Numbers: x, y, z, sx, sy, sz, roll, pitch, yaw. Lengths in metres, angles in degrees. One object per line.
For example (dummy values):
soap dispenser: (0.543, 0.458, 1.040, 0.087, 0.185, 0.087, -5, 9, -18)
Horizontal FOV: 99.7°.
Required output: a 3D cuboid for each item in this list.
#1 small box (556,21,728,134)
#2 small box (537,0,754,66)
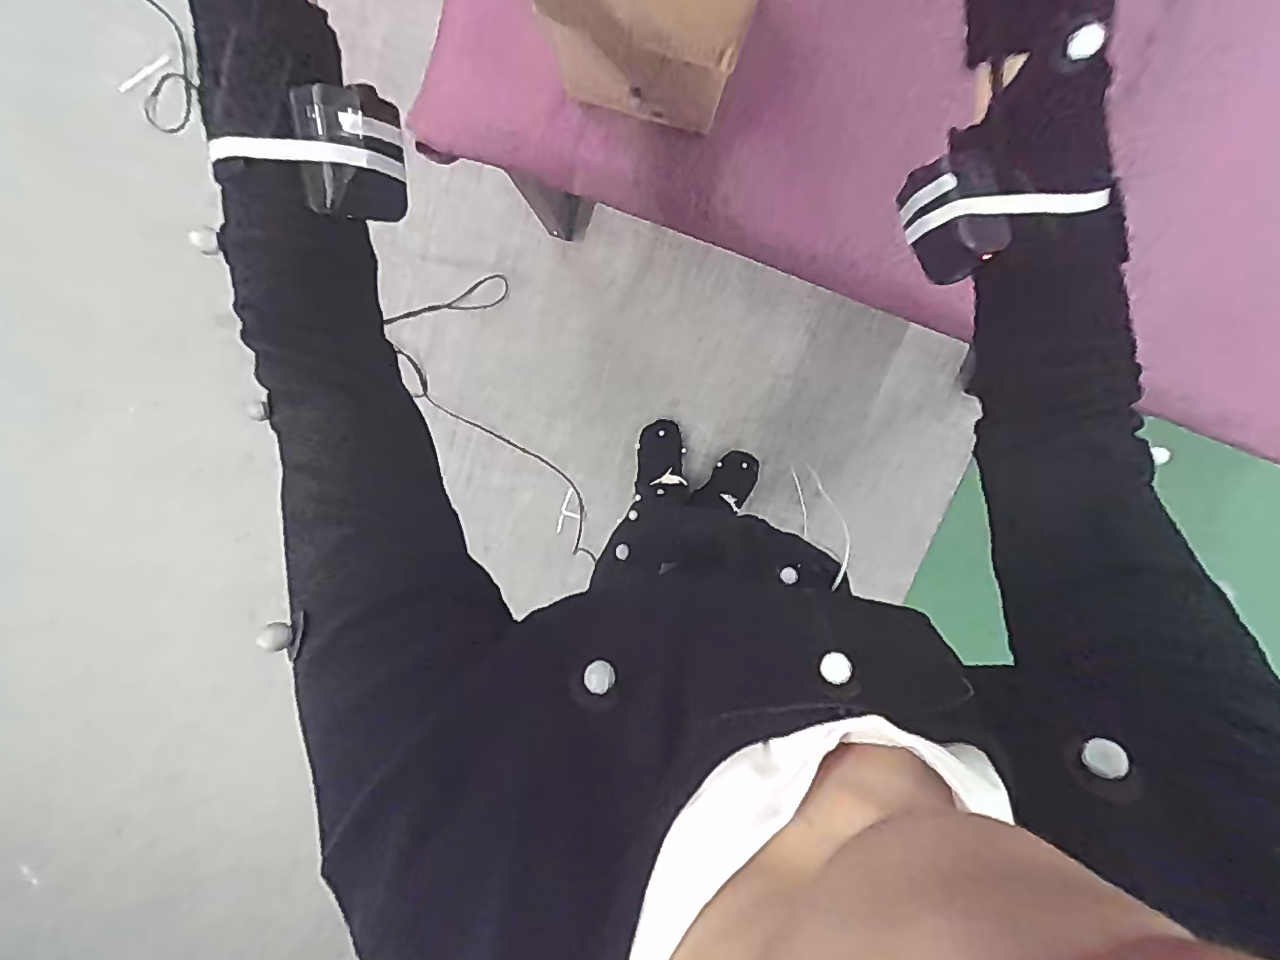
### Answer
small box: (0.015, -0.483, 0.526, 0.168, 0.176, 0.179, 14, 101, -4)
small box: (0.018, -0.431, 0.371, 0.179, 0.176, 0.168, 14, 102, -4)
